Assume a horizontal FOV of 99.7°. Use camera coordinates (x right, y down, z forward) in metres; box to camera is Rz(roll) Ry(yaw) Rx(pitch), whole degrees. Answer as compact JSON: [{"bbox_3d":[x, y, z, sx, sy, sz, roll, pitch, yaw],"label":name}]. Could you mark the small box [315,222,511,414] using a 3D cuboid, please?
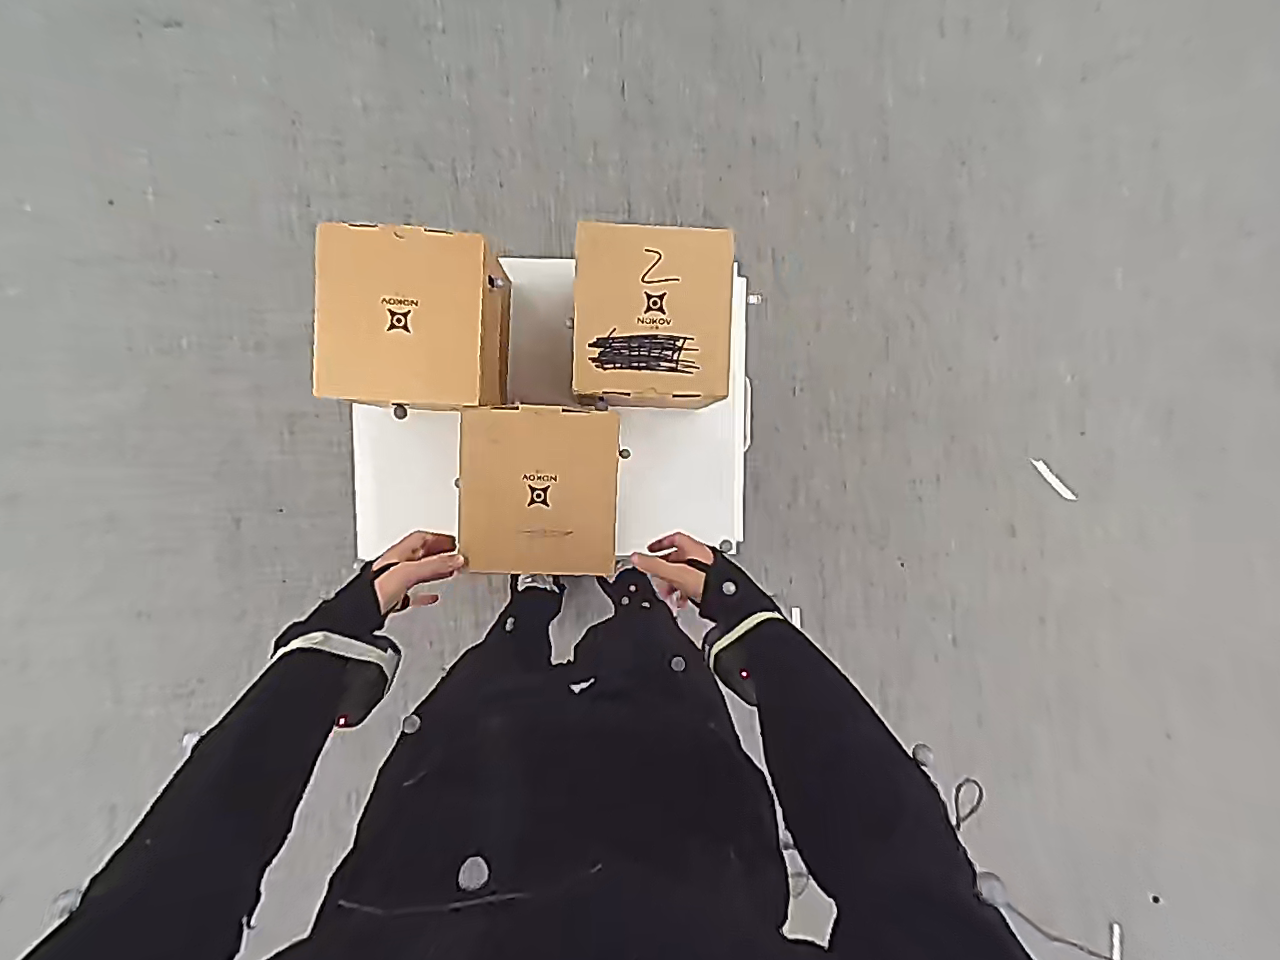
[{"bbox_3d":[-0.245,-0.169,0.622,0.168,0.176,0.179,2,93,-5],"label":"small box"}]
